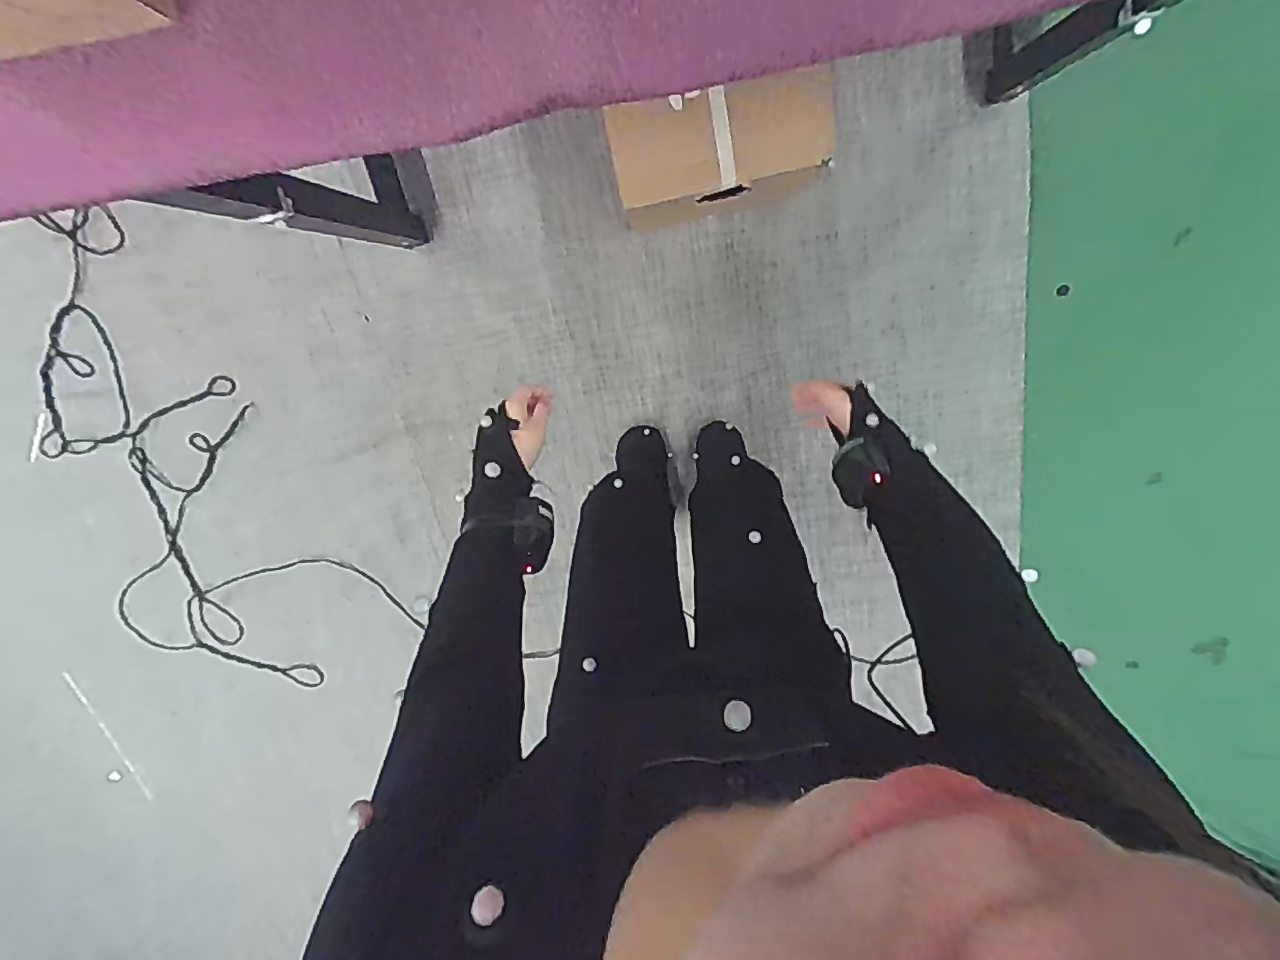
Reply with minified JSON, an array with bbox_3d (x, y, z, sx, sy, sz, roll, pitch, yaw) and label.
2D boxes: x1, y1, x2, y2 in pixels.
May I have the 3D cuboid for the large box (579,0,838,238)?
[{"bbox_3d":[0.092,-0.644,0.860,0.320,0.320,0.408,-11,108,7],"label":"large box"}]
